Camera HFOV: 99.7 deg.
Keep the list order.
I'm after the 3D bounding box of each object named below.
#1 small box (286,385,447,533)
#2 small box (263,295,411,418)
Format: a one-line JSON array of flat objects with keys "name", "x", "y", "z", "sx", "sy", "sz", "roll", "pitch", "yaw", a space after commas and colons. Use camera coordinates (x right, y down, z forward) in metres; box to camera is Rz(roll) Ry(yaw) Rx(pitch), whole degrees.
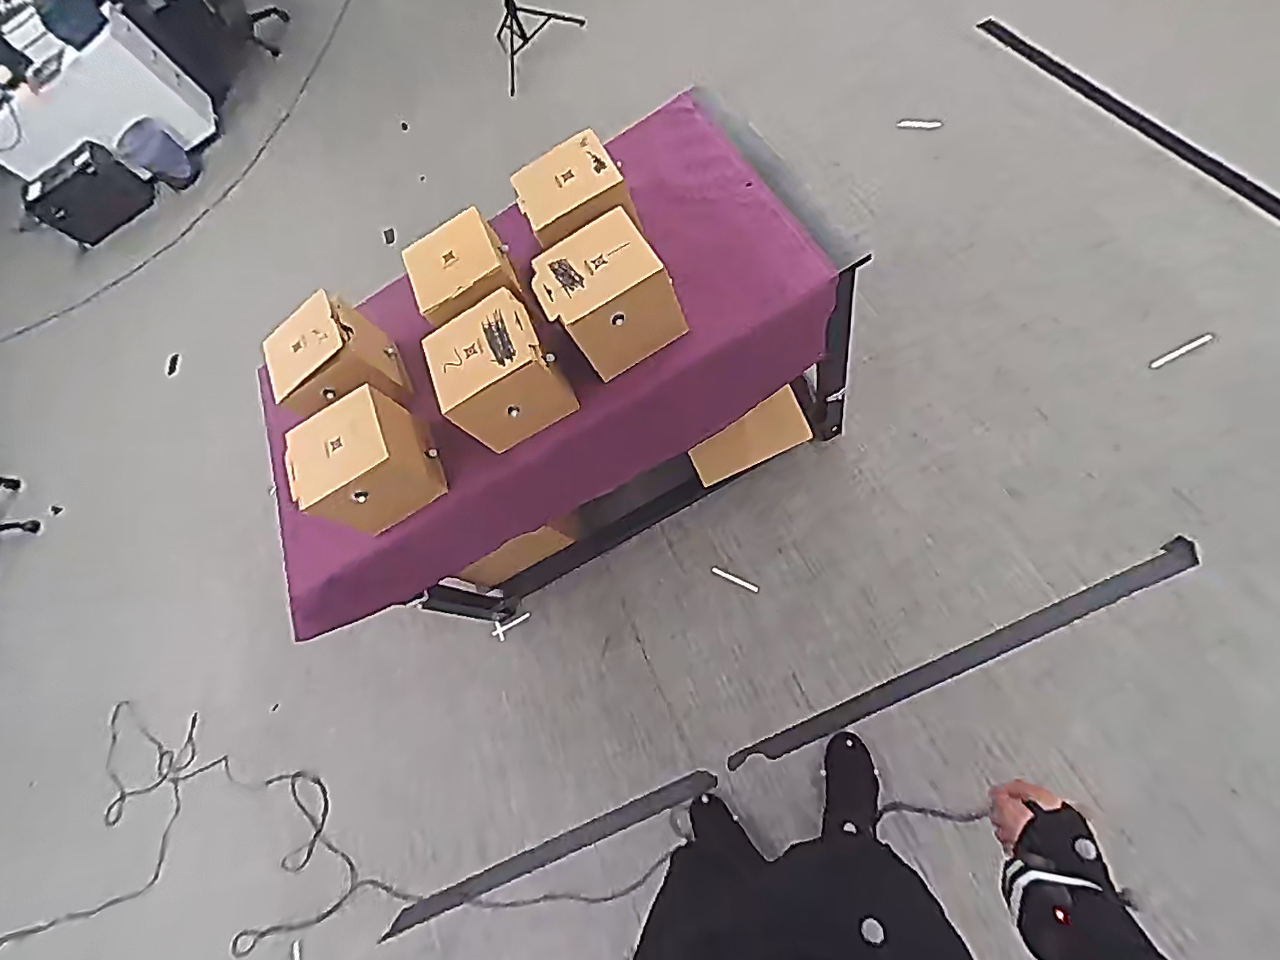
[{"name": "small box", "x": -0.479, "y": -0.027, "z": 0.957, "sx": 0.179, "sy": 0.176, "sz": 0.168, "roll": -30, "pitch": 64, "yaw": 5}, {"name": "small box", "x": -0.589, "y": -0.215, "z": 1.062, "sx": 0.179, "sy": 0.176, "sz": 0.168, "roll": -31, "pitch": 65, "yaw": 4}]
